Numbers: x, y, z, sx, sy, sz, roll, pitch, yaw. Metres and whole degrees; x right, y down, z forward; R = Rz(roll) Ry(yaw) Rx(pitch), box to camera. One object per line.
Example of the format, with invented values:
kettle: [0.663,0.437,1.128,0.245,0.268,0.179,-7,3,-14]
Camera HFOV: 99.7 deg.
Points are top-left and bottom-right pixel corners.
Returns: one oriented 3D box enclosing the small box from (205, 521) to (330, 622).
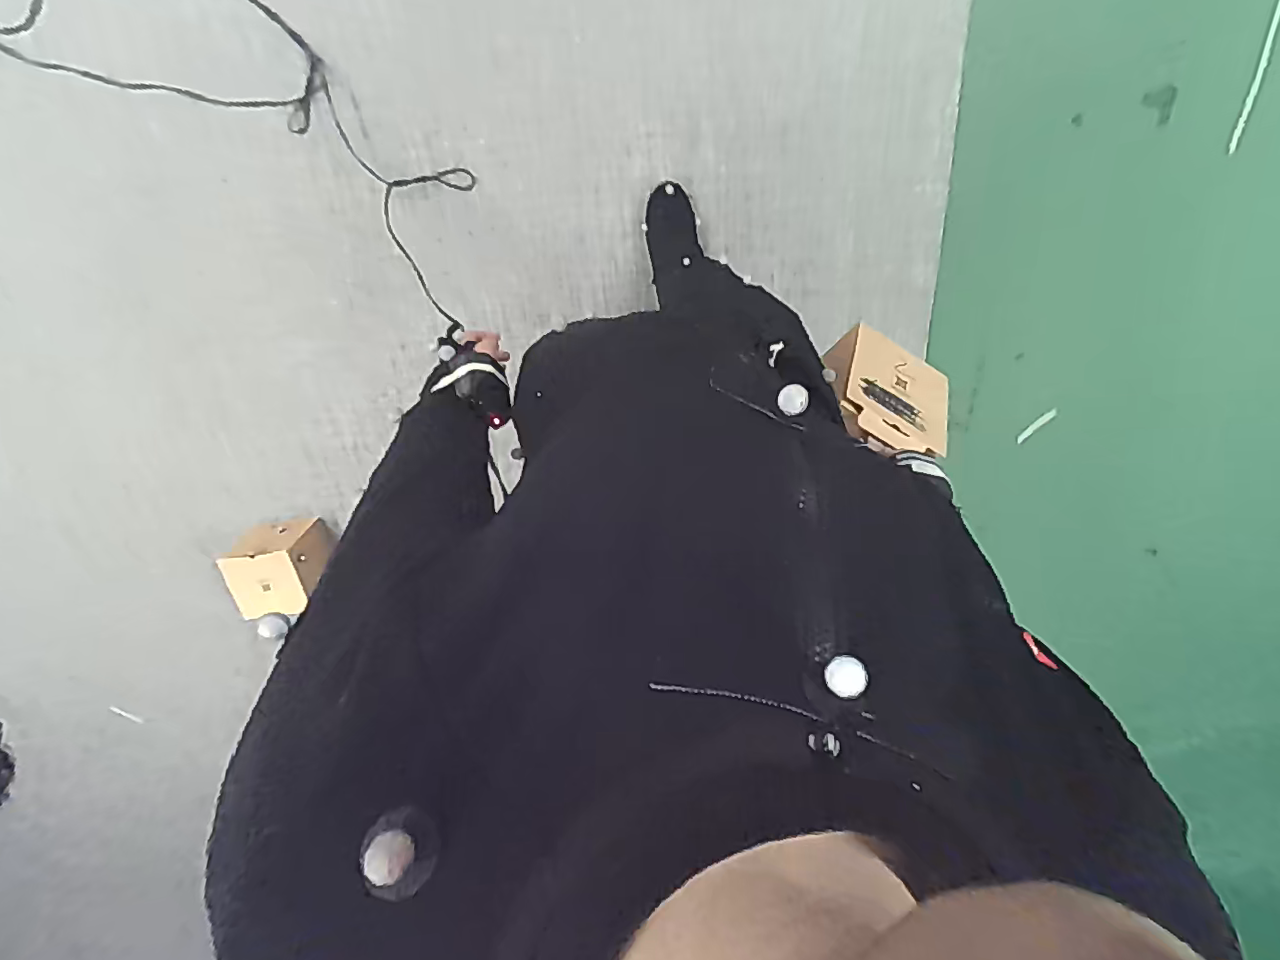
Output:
small box: [-0.895,0.220,1.323,0.168,0.176,0.179,-7,113,-2]
